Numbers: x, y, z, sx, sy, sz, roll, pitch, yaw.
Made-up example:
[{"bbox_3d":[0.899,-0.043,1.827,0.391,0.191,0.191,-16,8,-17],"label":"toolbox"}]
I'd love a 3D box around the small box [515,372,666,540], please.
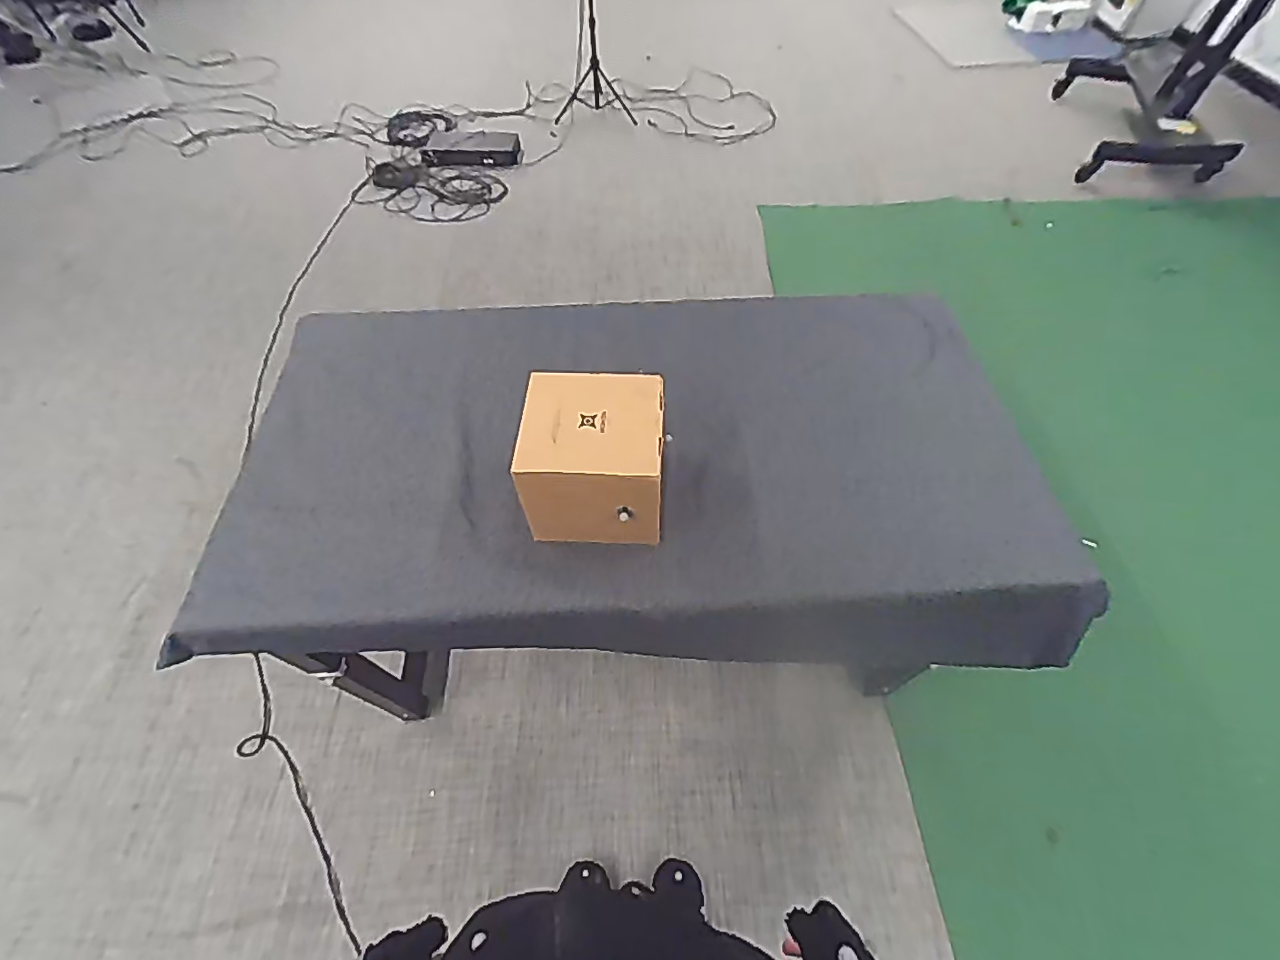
[{"bbox_3d":[-0.055,-0.028,0.737,0.179,0.176,0.168,1,55,2],"label":"small box"}]
